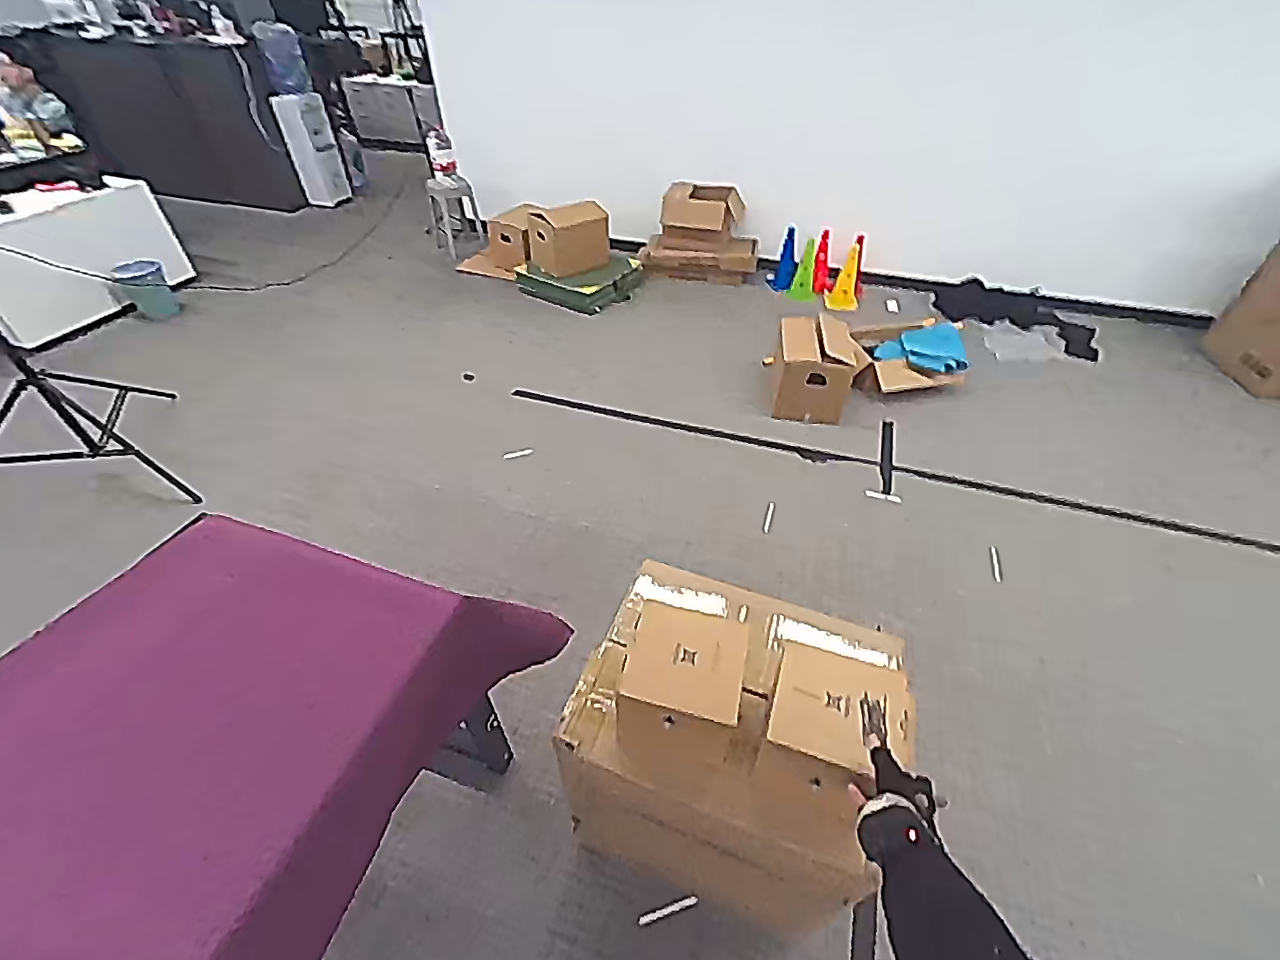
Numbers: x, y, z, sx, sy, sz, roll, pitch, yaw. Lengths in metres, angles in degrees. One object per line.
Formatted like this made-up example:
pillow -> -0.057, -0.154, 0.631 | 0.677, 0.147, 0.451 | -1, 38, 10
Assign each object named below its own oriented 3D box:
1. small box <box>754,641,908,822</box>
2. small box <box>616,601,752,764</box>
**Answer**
small box -> 0.279, 0.376, 0.802 | 0.179, 0.176, 0.168 | 13, 44, 16
small box -> 0.068, 0.324, 0.859 | 0.179, 0.176, 0.168 | 12, 45, 10
